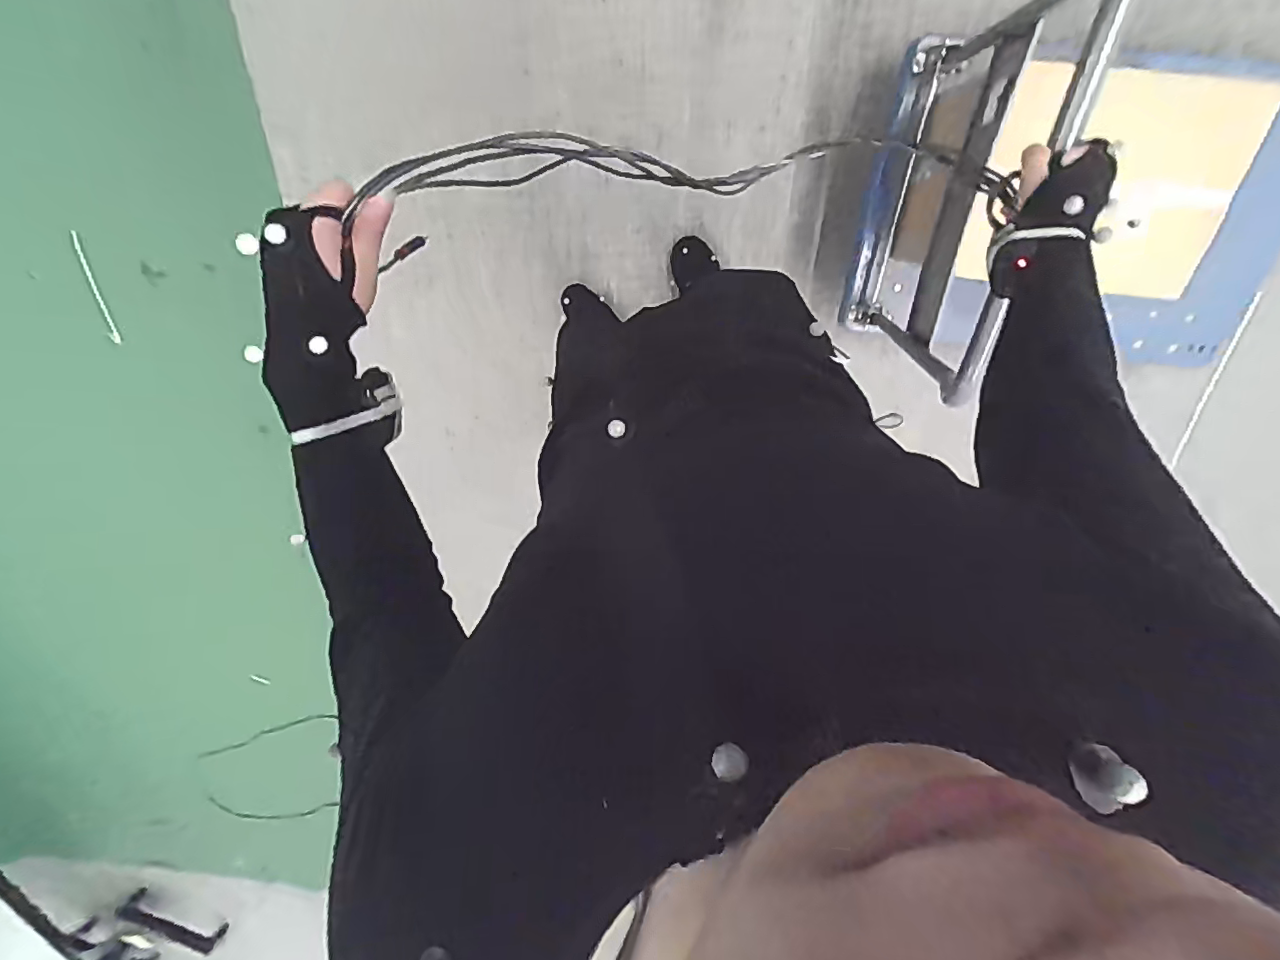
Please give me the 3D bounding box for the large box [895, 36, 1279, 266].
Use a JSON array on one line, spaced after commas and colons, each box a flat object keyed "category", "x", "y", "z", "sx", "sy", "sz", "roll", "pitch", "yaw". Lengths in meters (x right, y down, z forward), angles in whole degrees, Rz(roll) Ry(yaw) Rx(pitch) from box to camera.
[{"category": "large box", "x": 0.752, "y": -0.581, "z": 0.996, "sx": 0.408, "sy": 0.320, "sz": 0.320, "roll": 4, "pitch": 118, "yaw": 3}]
